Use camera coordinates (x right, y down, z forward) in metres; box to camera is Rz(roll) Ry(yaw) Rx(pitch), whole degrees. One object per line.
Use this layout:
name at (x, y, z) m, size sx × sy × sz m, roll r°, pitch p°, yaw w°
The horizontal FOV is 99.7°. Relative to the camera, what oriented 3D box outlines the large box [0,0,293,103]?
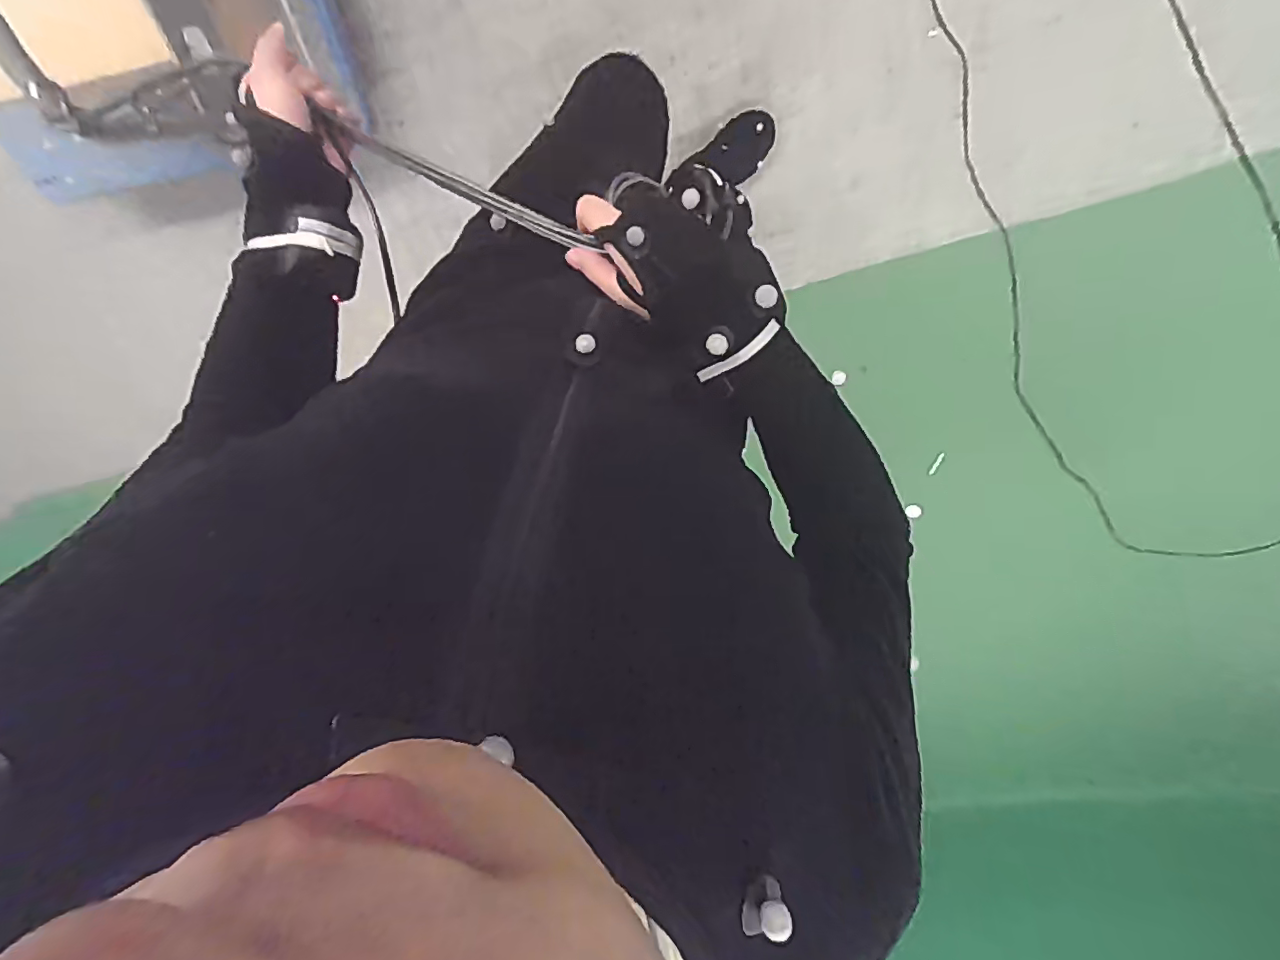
large box at (-0.907, -0.857, 0.892) m, size 0.408 × 0.320 × 0.320 m, roll -4°, pitch 127°, yaw 10°
